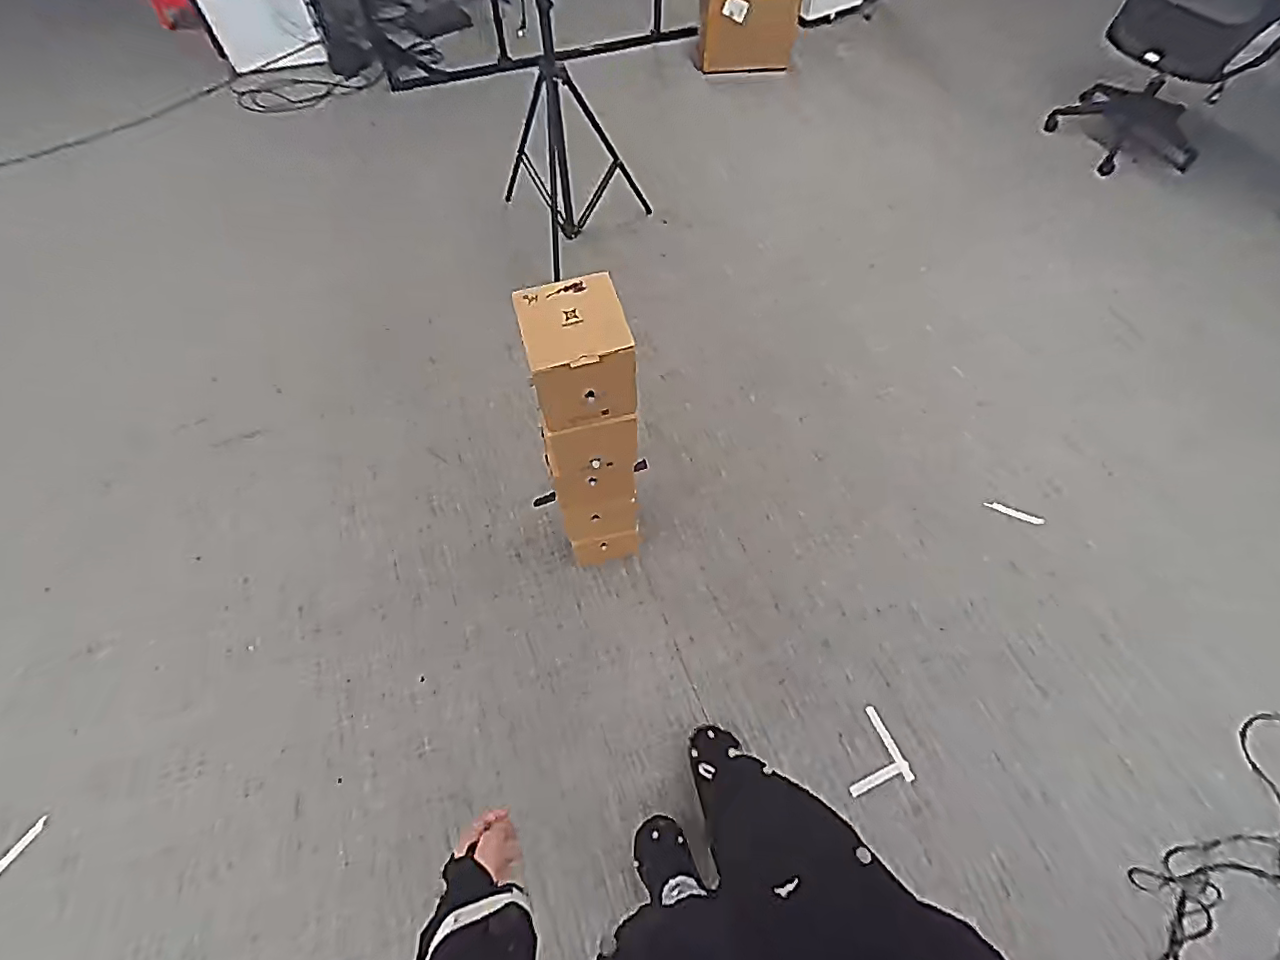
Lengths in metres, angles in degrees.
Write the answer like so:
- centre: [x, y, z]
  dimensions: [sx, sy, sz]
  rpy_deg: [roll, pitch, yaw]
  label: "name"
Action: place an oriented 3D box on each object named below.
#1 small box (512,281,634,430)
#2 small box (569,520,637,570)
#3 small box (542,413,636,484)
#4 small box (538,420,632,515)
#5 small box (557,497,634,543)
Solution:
- centre: [-0.109, -0.202, 0.927]
  dimensions: [0.168, 0.176, 0.179]
  rpy_deg: [-15, 64, -7]
  label: "small box"
- centre: [-0.111, 0.132, 1.490]
  dimensions: [0.179, 0.176, 0.168]
  rpy_deg: [-13, 62, -7]
  label: "small box"
- centre: [-0.106, -0.117, 1.067]
  dimensions: [0.168, 0.176, 0.179]
  rpy_deg: [-13, 64, -6]
  label: "small box"
- centre: [-0.118, -0.038, 1.211]
  dimensions: [0.179, 0.176, 0.168]
  rpy_deg: [-12, 63, -7]
  label: "small box"
- centre: [-0.115, 0.046, 1.350]
  dimensions: [0.179, 0.176, 0.168]
  rpy_deg: [-10, 62, -5]
  label: "small box"
